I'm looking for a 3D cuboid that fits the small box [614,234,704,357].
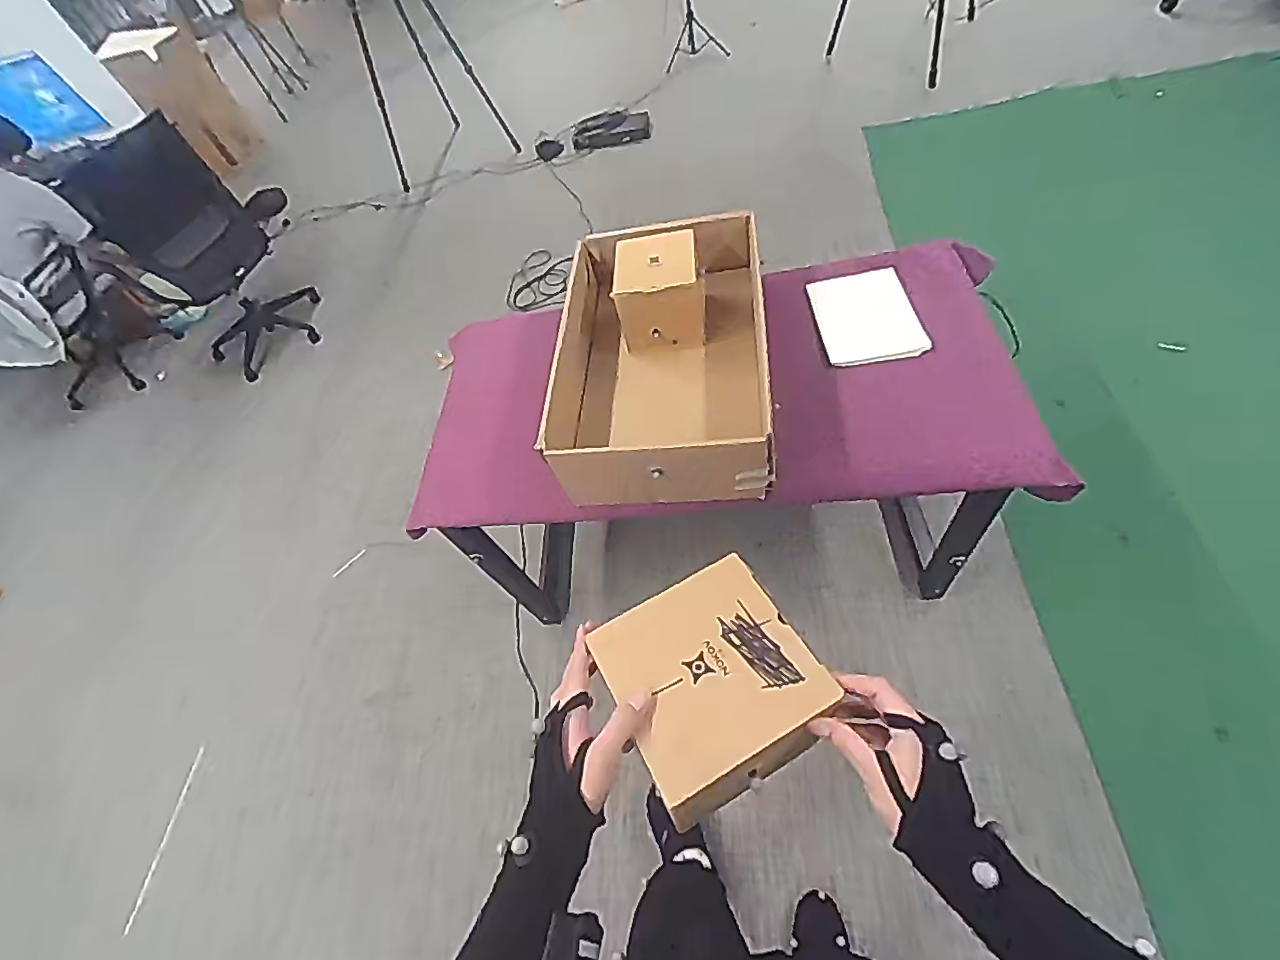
[{"bbox_3d":[0.046,-0.391,1.158,0.168,0.176,0.179,-5,58,10],"label":"small box"}]
